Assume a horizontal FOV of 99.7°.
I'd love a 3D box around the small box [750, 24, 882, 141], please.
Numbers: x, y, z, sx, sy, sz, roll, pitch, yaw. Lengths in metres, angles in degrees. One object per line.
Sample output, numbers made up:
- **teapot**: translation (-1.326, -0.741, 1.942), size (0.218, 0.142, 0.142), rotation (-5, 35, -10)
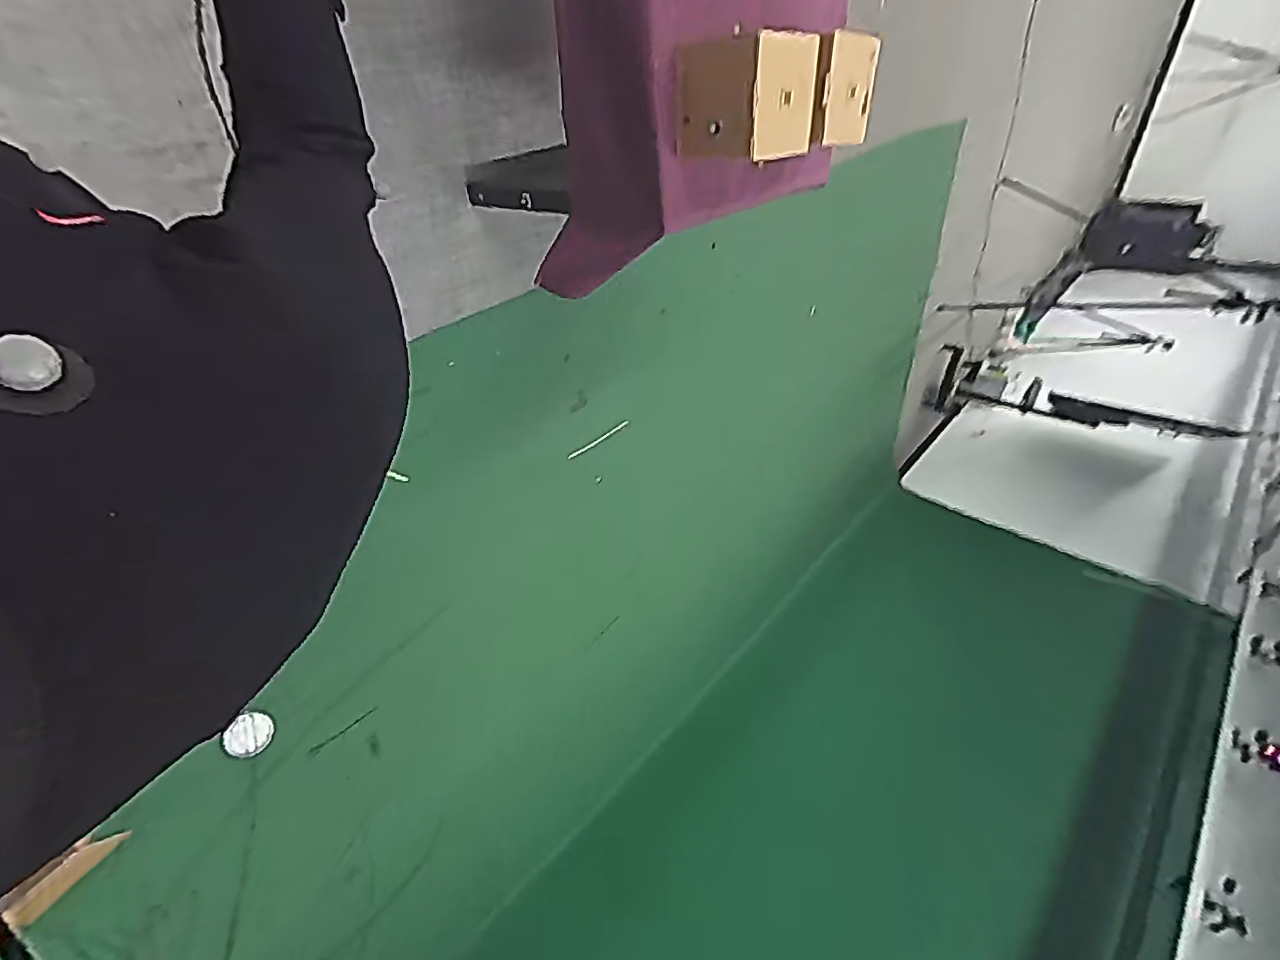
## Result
- **small box**: translation (0.330, -0.749, 1.036), size (0.179, 0.176, 0.168), rotation (-29, 132, -35)
